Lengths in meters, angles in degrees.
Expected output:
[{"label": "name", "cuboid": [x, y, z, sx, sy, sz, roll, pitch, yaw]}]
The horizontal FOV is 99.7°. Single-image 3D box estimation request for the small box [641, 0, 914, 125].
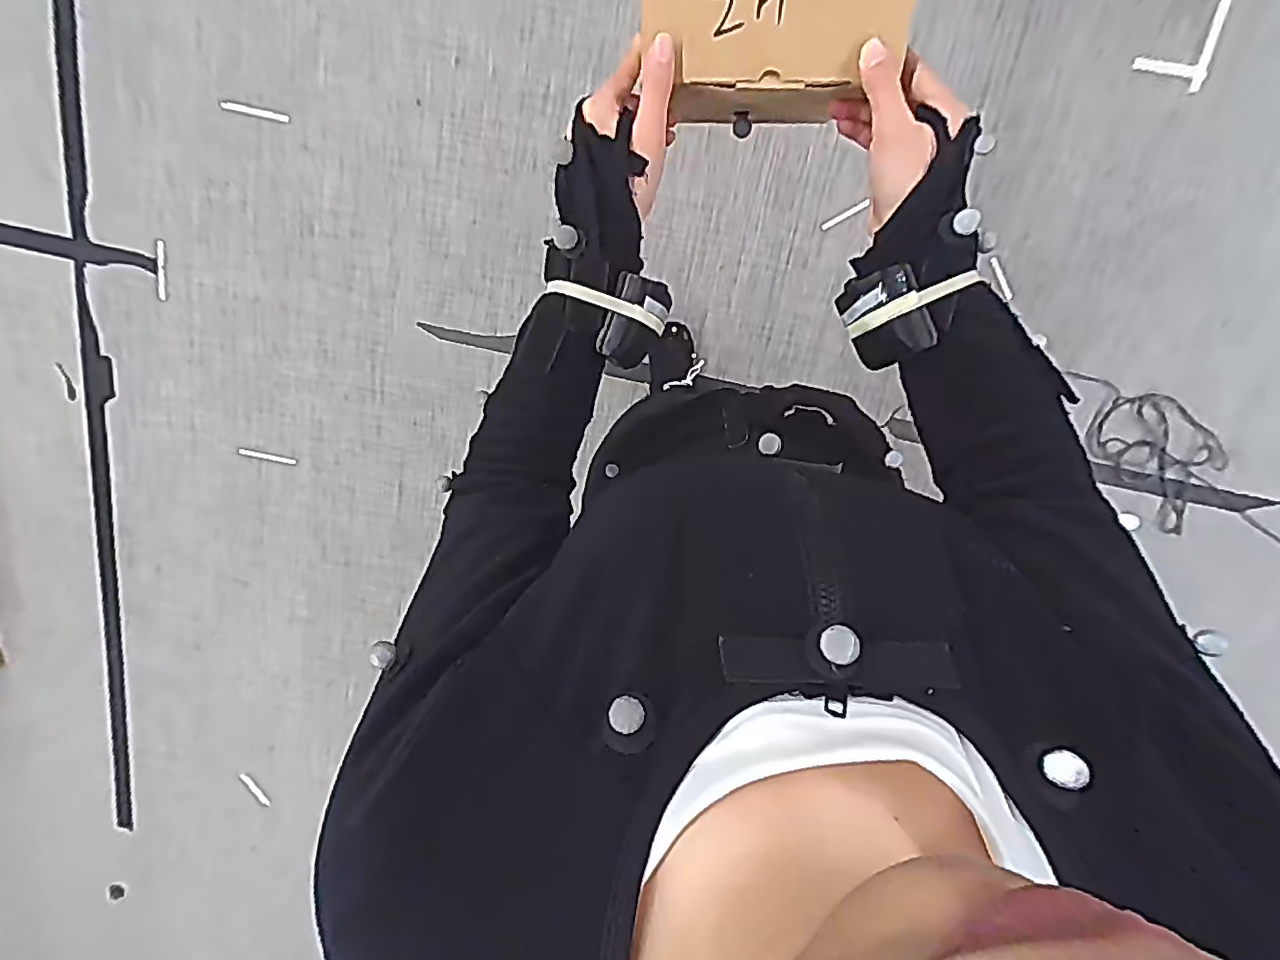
[{"label": "small box", "cuboid": [0.084, -0.366, 0.376, 0.168, 0.176, 0.179, 1, 116, 1]}]
